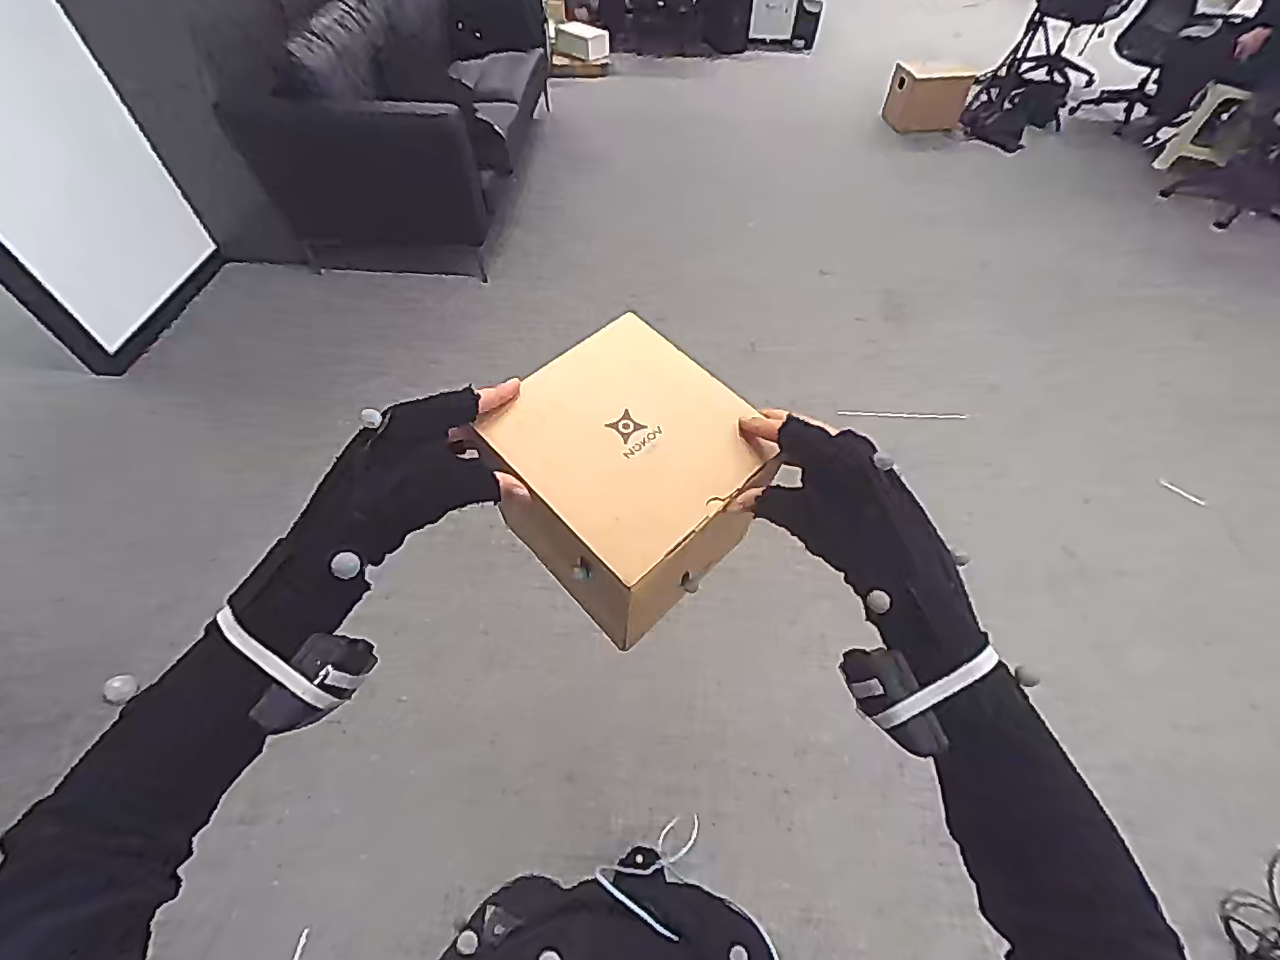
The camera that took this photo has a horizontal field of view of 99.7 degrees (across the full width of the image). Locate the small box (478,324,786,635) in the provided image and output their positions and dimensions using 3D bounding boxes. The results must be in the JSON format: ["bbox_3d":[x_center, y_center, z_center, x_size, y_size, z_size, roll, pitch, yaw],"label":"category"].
[{"bbox_3d":[-0.011,0.007,0.472,0.168,0.176,0.179,-39,70,-22],"label":"small box"}]
